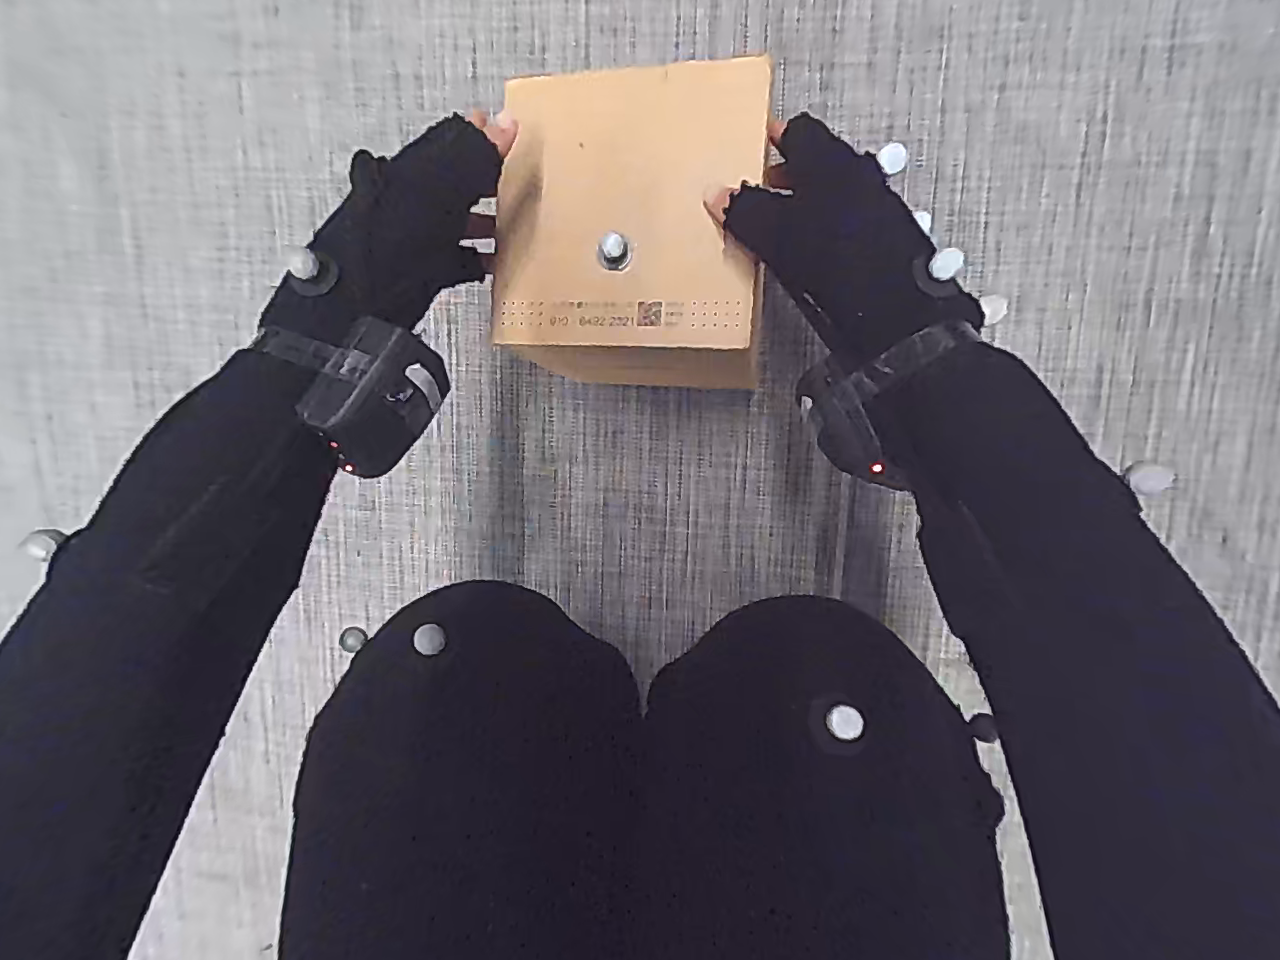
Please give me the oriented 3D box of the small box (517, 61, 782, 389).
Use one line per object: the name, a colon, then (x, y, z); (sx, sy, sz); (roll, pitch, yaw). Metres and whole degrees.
small box: (0.016, -0.163, 0.410); (0.168, 0.179, 0.176); (4, 91, 13)
